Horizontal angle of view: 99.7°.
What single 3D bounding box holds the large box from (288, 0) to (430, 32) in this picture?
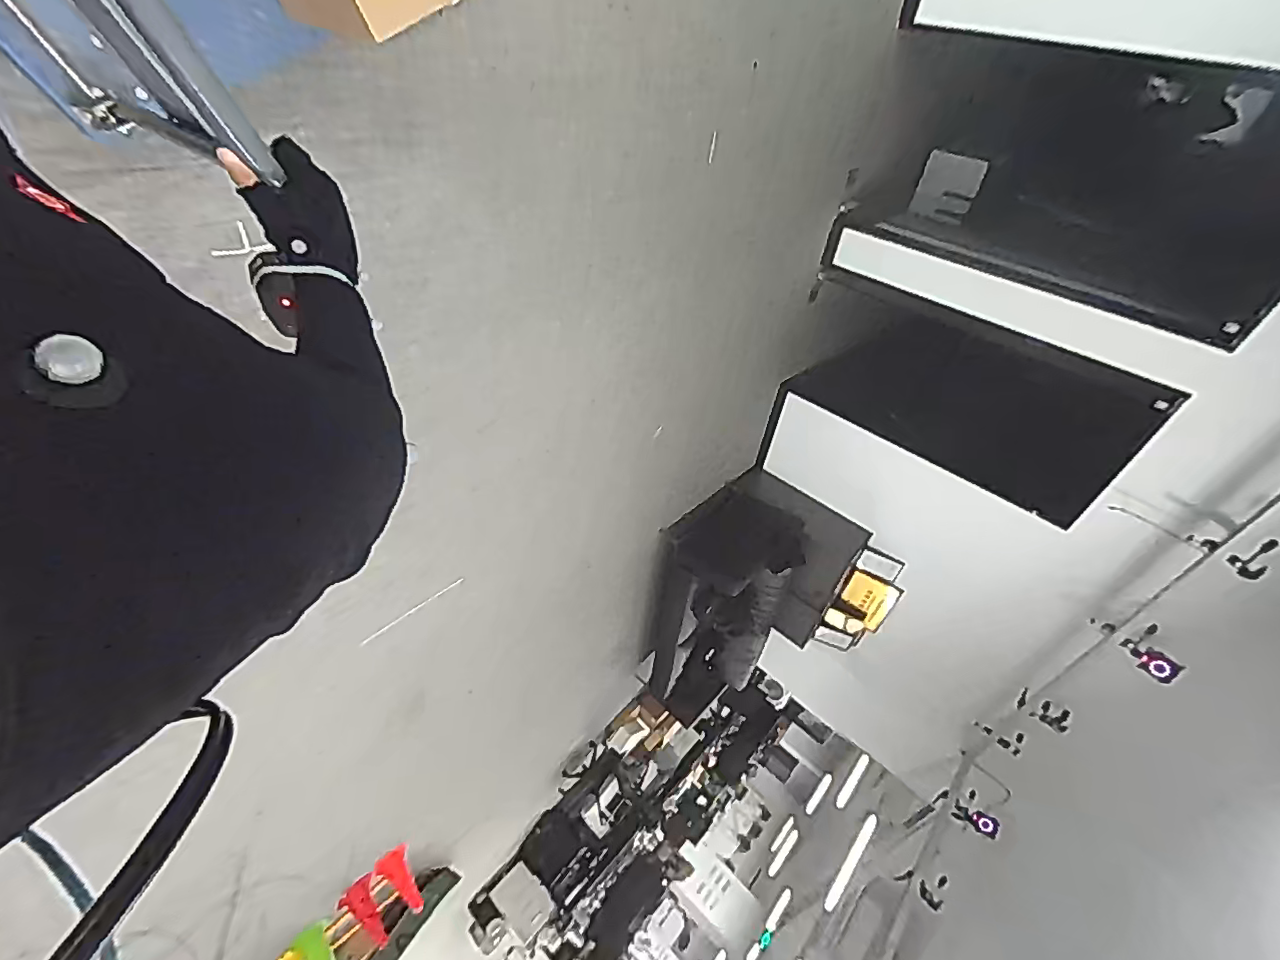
[{"bbox_3d":[-0.442,-0.950,0.754,0.320,0.320,0.408,-47,151,-16],"label":"large box"}]
